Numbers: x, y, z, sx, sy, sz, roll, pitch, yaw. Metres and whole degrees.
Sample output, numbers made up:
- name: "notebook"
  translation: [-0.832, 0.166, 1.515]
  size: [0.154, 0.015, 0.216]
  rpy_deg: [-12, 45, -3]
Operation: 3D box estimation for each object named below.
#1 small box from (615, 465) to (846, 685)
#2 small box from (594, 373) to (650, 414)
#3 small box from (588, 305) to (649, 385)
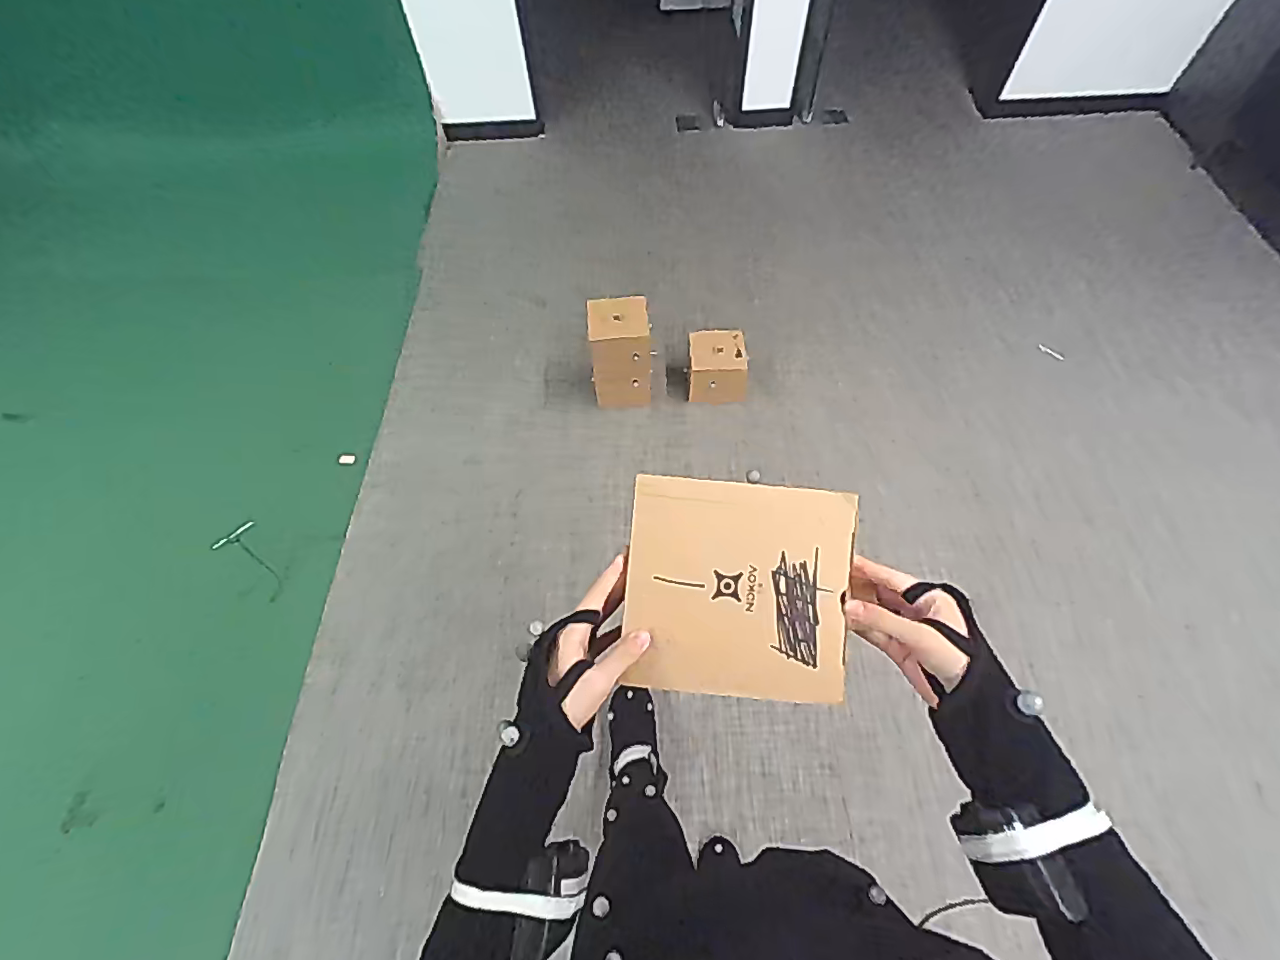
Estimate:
- name: "small box"
  translation: [0.075, 0.079, 0.515]
  size: [0.179, 0.176, 0.168]
  rpy_deg: [5, 87, 2]
- name: "small box"
  translation: [-0.060, -0.335, 1.795]
  size: [0.179, 0.176, 0.168]
  rpy_deg: [-5, 59, 0]
- name: "small box"
  translation: [-0.063, -0.408, 1.649]
  size: [0.179, 0.176, 0.168]
  rpy_deg: [-5, 59, 1]
